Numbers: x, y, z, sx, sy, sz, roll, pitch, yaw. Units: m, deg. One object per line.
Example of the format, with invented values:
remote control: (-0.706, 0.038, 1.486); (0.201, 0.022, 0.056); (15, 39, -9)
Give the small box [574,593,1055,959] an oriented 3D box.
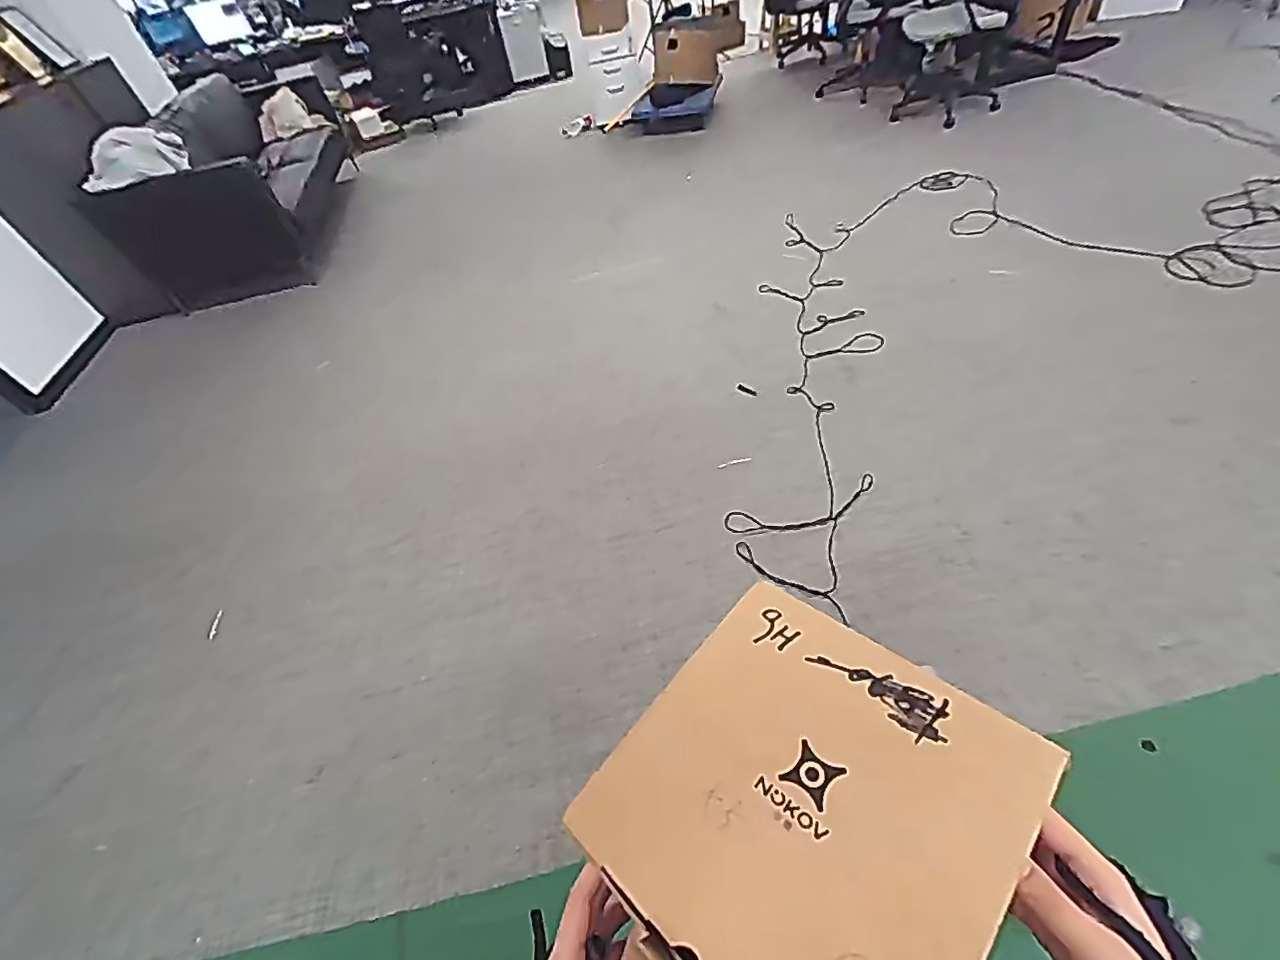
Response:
small box: (0.097, 0.210, 0.317); (0.168, 0.176, 0.179); (28, 60, 37)
